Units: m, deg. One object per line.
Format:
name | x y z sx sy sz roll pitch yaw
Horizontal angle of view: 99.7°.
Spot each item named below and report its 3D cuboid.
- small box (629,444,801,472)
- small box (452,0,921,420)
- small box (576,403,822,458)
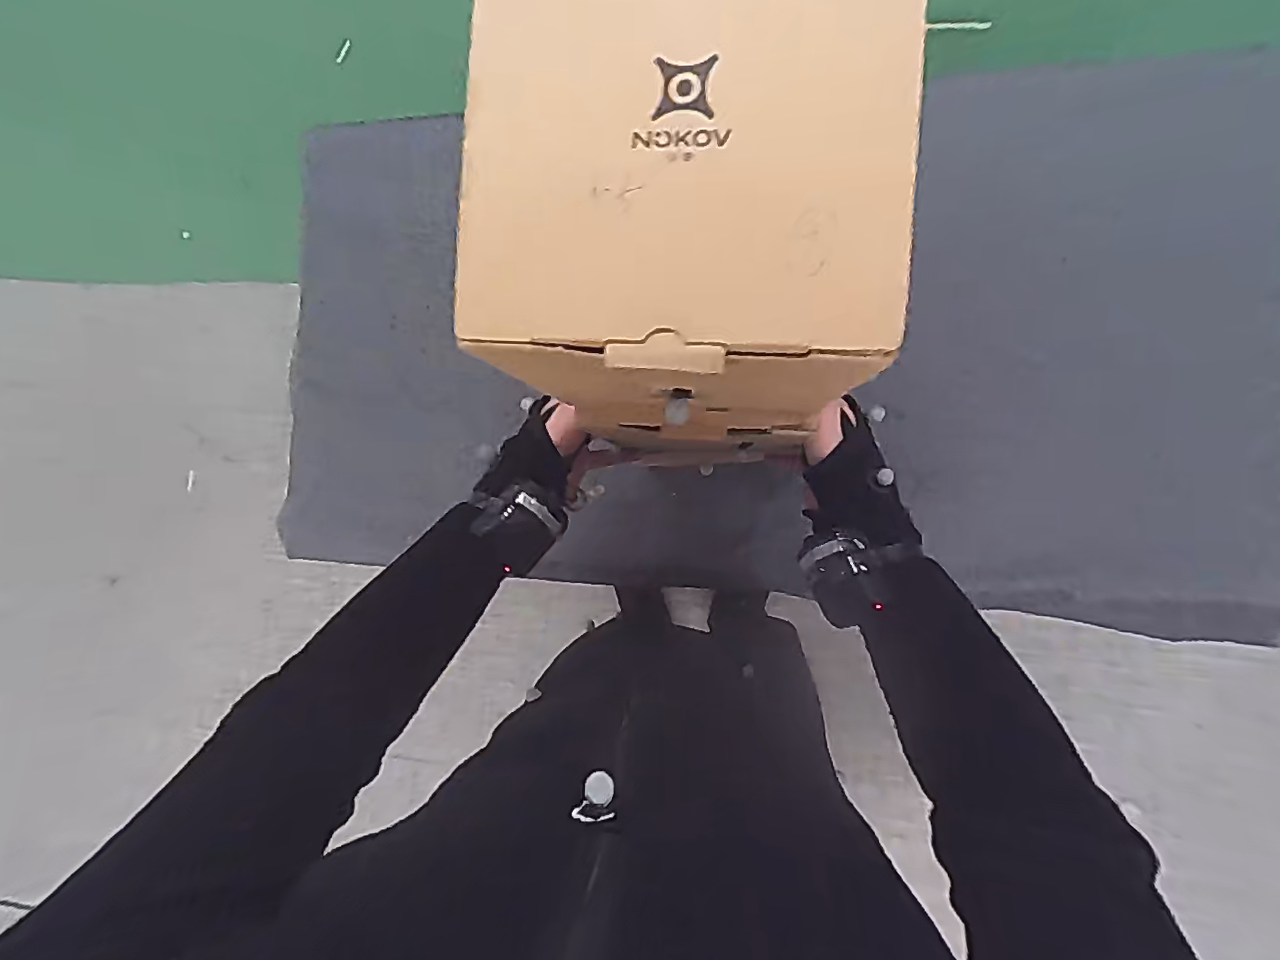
small box | 0.079 -0.103 0.596 0.168 0.176 0.179 -3 88 9
small box | 0.025 -0.127 0.276 0.168 0.176 0.179 4 90 8
small box | 0.052 -0.110 0.437 0.168 0.176 0.179 1 87 9
